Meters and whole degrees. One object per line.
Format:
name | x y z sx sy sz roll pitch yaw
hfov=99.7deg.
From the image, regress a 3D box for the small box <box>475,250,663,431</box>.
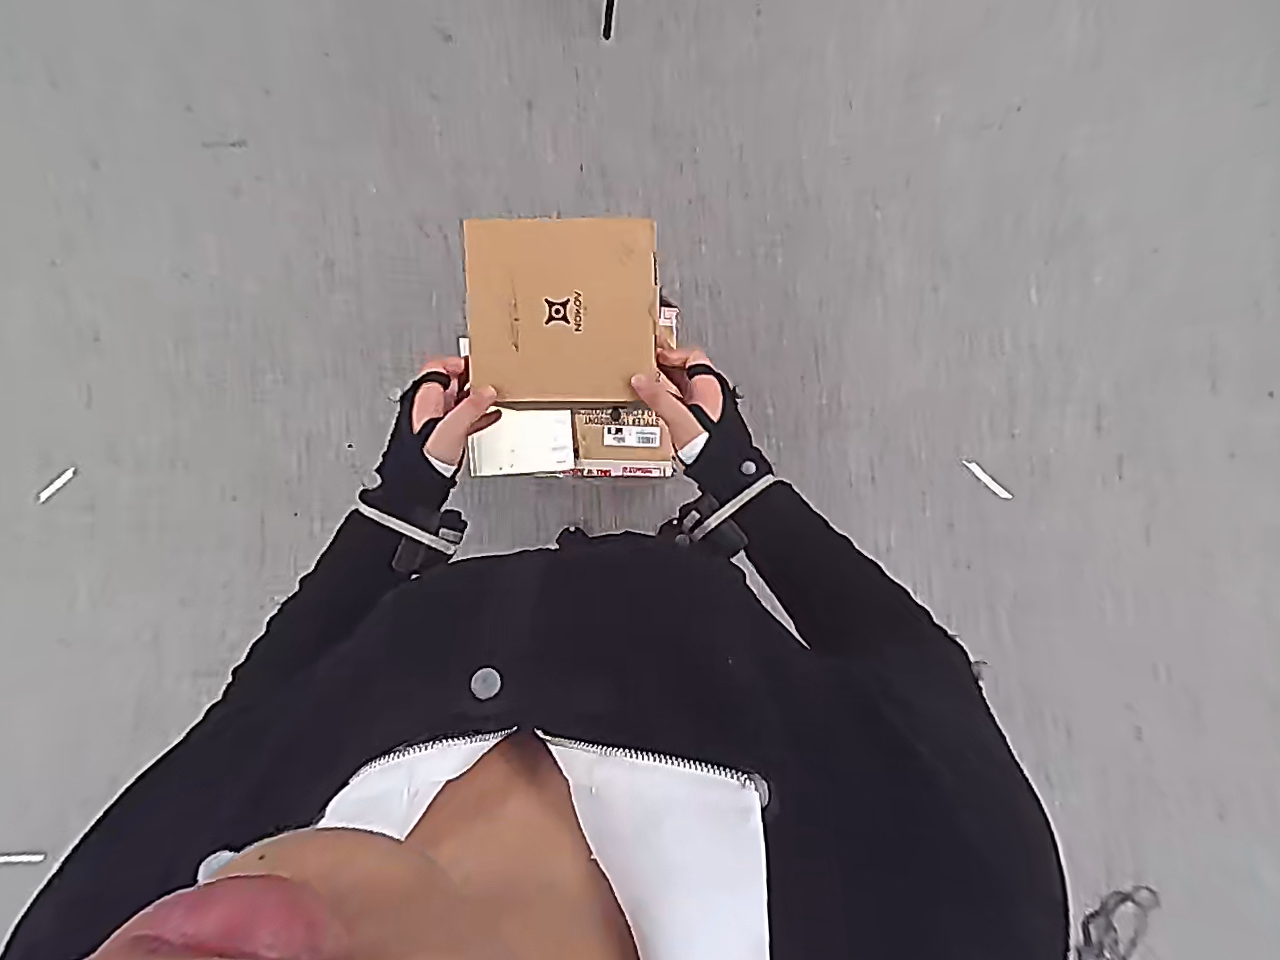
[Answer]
small box | -0.066 -0.139 0.590 0.179 0.176 0.168 -1 94 2
